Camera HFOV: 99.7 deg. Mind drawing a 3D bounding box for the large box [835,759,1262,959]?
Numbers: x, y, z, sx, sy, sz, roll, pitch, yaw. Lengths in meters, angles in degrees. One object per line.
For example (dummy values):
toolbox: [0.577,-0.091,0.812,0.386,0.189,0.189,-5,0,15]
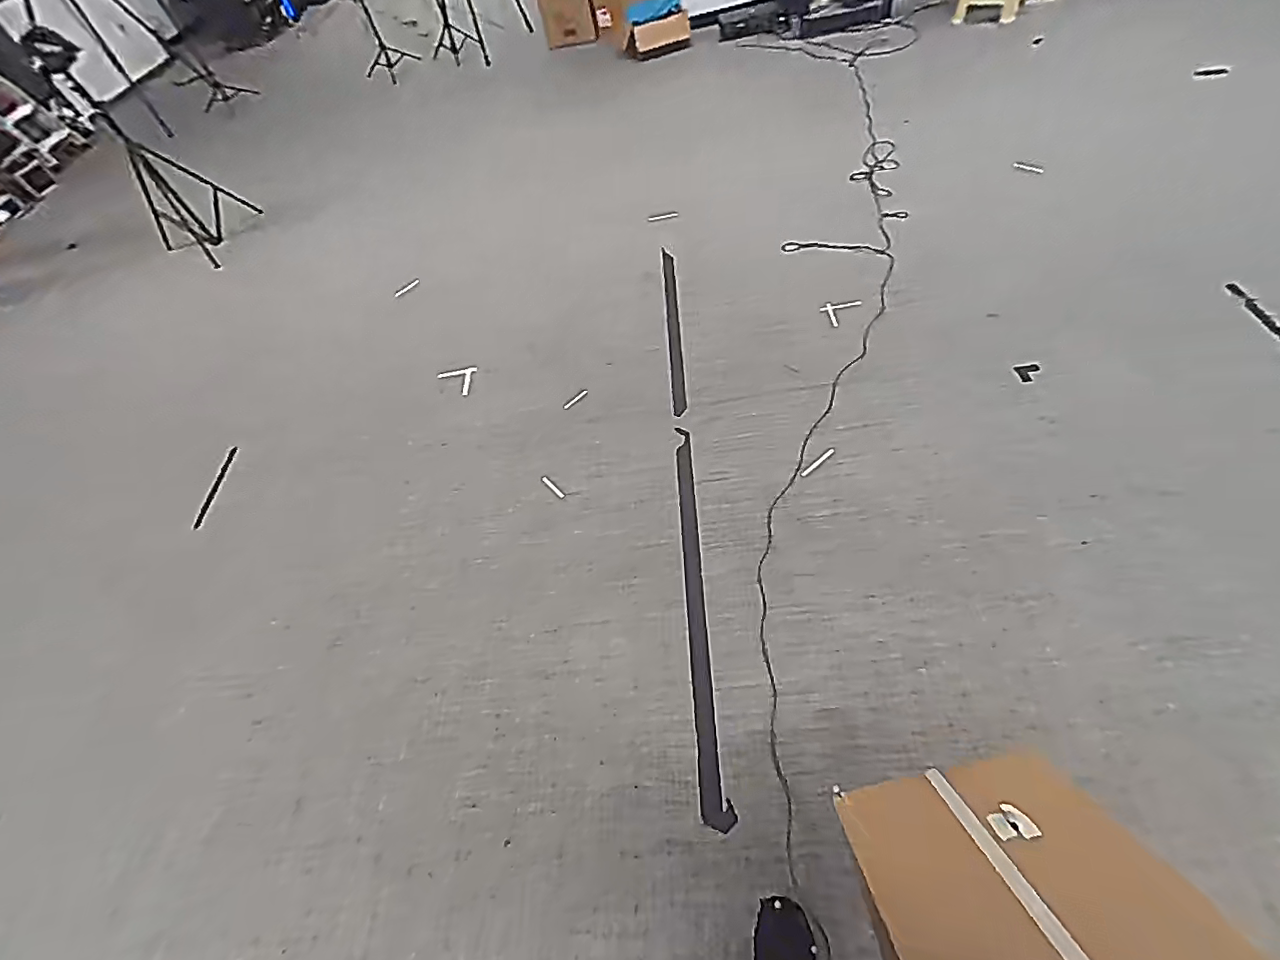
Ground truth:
large box: [0.484,0.625,0.649,0.320,0.408,0.320,-16,92,5]
